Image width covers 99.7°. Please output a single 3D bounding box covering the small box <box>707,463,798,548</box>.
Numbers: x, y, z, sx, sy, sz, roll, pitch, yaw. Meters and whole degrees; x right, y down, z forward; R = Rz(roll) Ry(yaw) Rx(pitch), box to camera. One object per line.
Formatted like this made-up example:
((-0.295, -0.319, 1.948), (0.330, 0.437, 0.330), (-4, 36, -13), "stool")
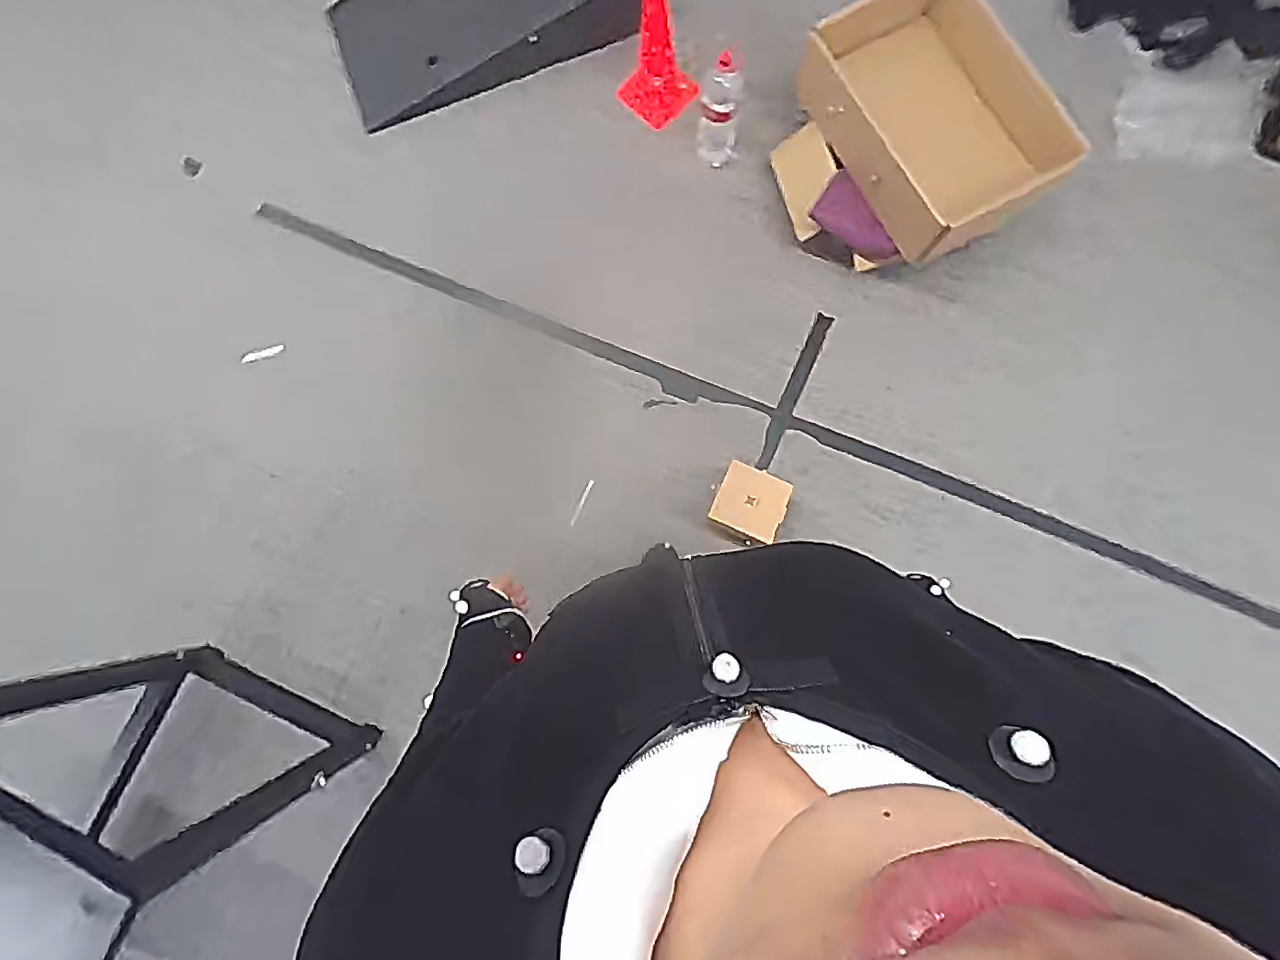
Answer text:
((0.293, 0.072, 1.442), (0.179, 0.176, 0.168), (24, 83, 7), "small box")
